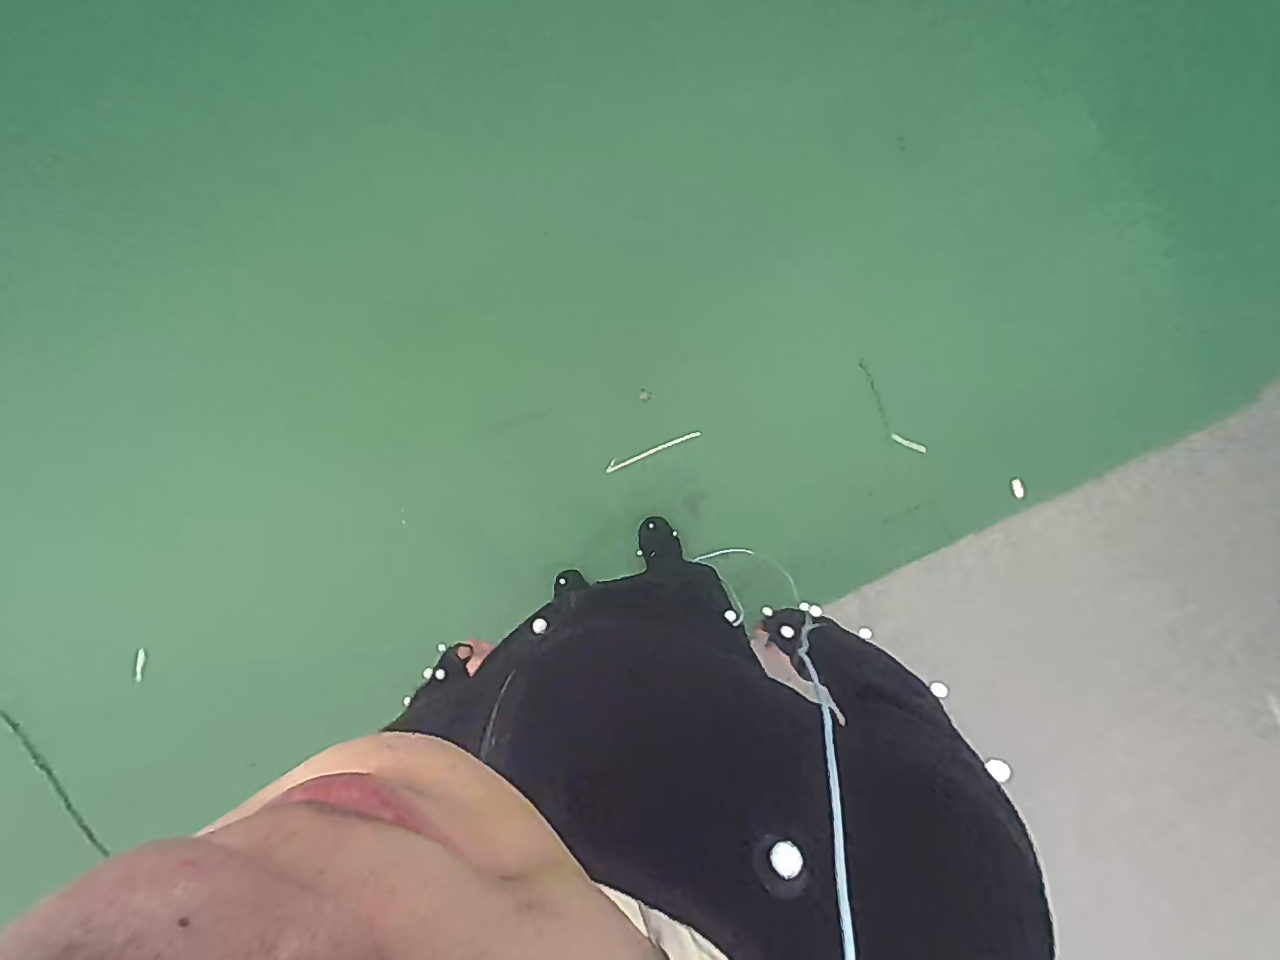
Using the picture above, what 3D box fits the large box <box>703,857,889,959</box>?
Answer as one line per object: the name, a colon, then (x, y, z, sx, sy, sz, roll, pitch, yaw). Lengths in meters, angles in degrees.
large box: (0.424, 1.286, 1.384, 0.408, 0.320, 0.320, -26, 85, -6)
